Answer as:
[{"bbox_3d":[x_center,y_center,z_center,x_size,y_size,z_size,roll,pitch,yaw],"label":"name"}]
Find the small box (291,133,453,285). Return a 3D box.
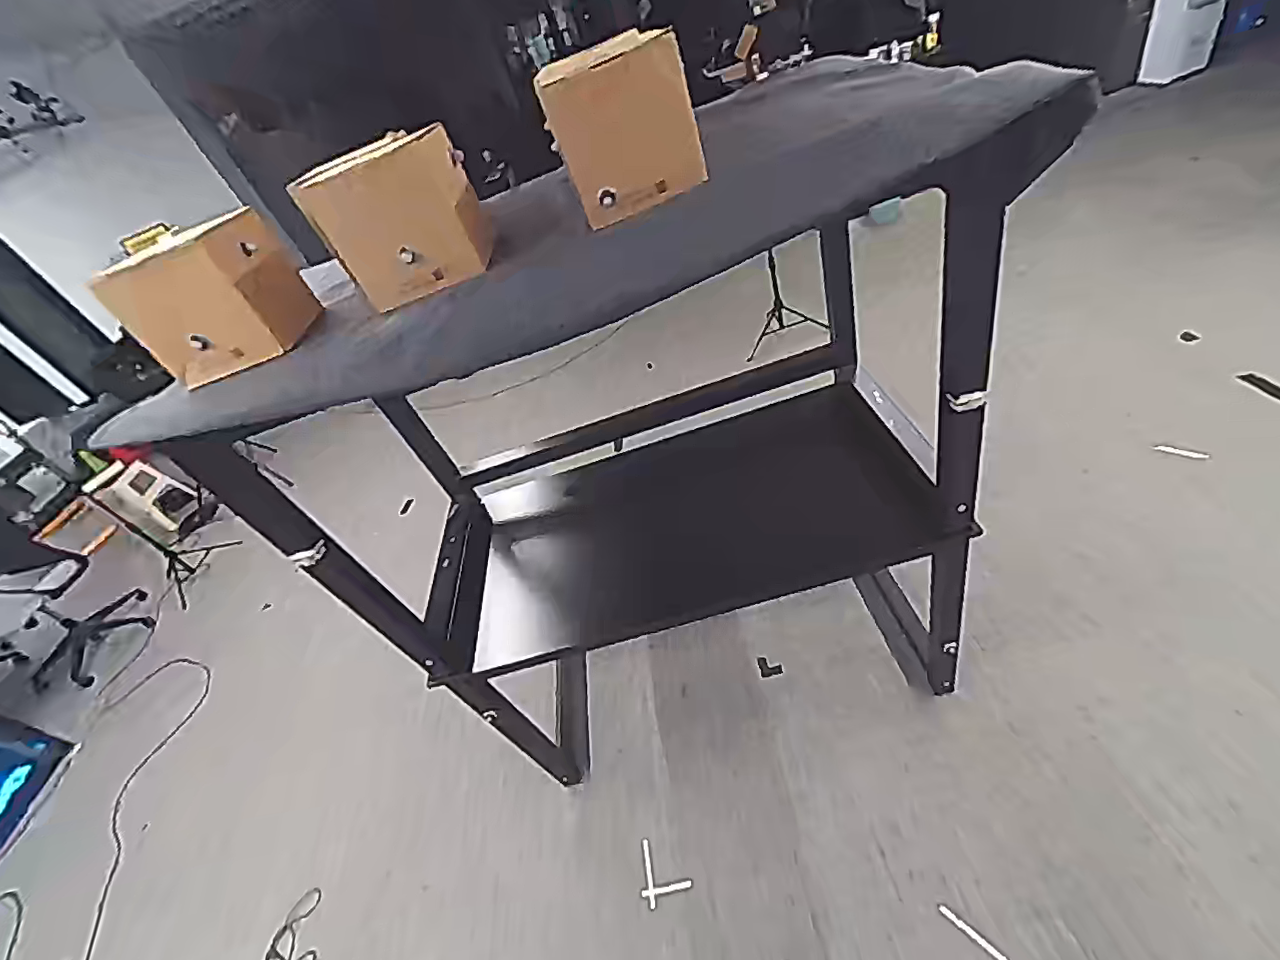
[{"bbox_3d":[-0.449,-0.470,0.942,0.179,0.176,0.168,-19,40,5],"label":"small box"}]

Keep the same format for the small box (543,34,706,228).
[{"bbox_3d":[-0.020,-0.465,0.730,0.168,0.176,0.179,-19,39,6],"label":"small box"}]

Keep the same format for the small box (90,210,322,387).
[{"bbox_3d":[-0.606,-0.264,0.790,0.168,0.176,0.179,-19,39,5],"label":"small box"}]
